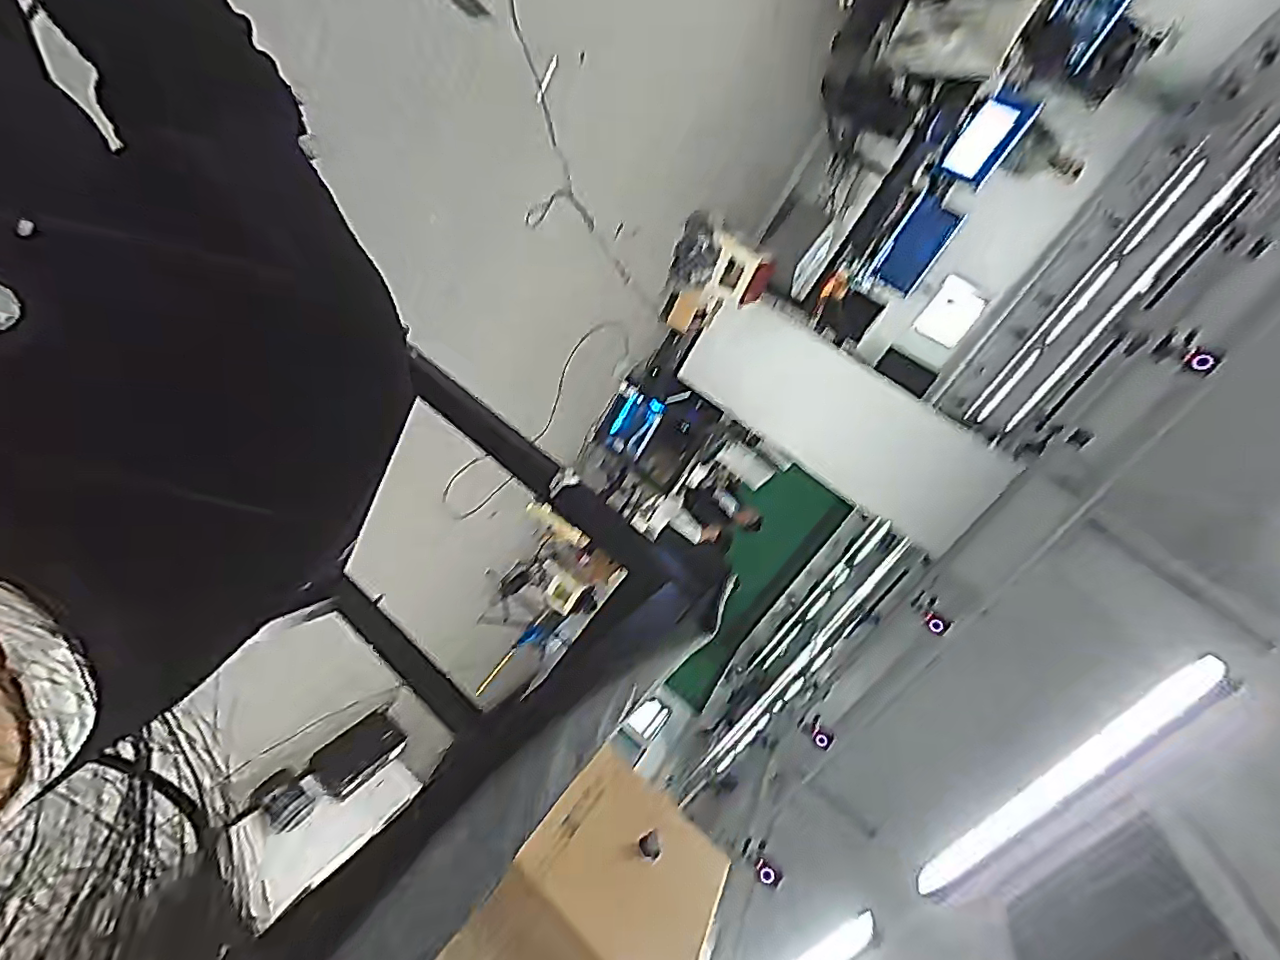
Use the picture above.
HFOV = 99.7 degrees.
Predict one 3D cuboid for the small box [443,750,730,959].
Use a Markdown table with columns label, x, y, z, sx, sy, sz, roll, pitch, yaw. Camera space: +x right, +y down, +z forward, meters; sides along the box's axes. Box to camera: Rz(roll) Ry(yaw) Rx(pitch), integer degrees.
| label | x | y | z | sx | sy | sz | roll | pitch | yaw |
| --- | --- | --- | --- | --- | --- | --- | --- | --- | --- |
| small box | -0.047 | 0.388 | 0.501 | 0.179 | 0.176 | 0.168 | -55 | 165 | 19 |
